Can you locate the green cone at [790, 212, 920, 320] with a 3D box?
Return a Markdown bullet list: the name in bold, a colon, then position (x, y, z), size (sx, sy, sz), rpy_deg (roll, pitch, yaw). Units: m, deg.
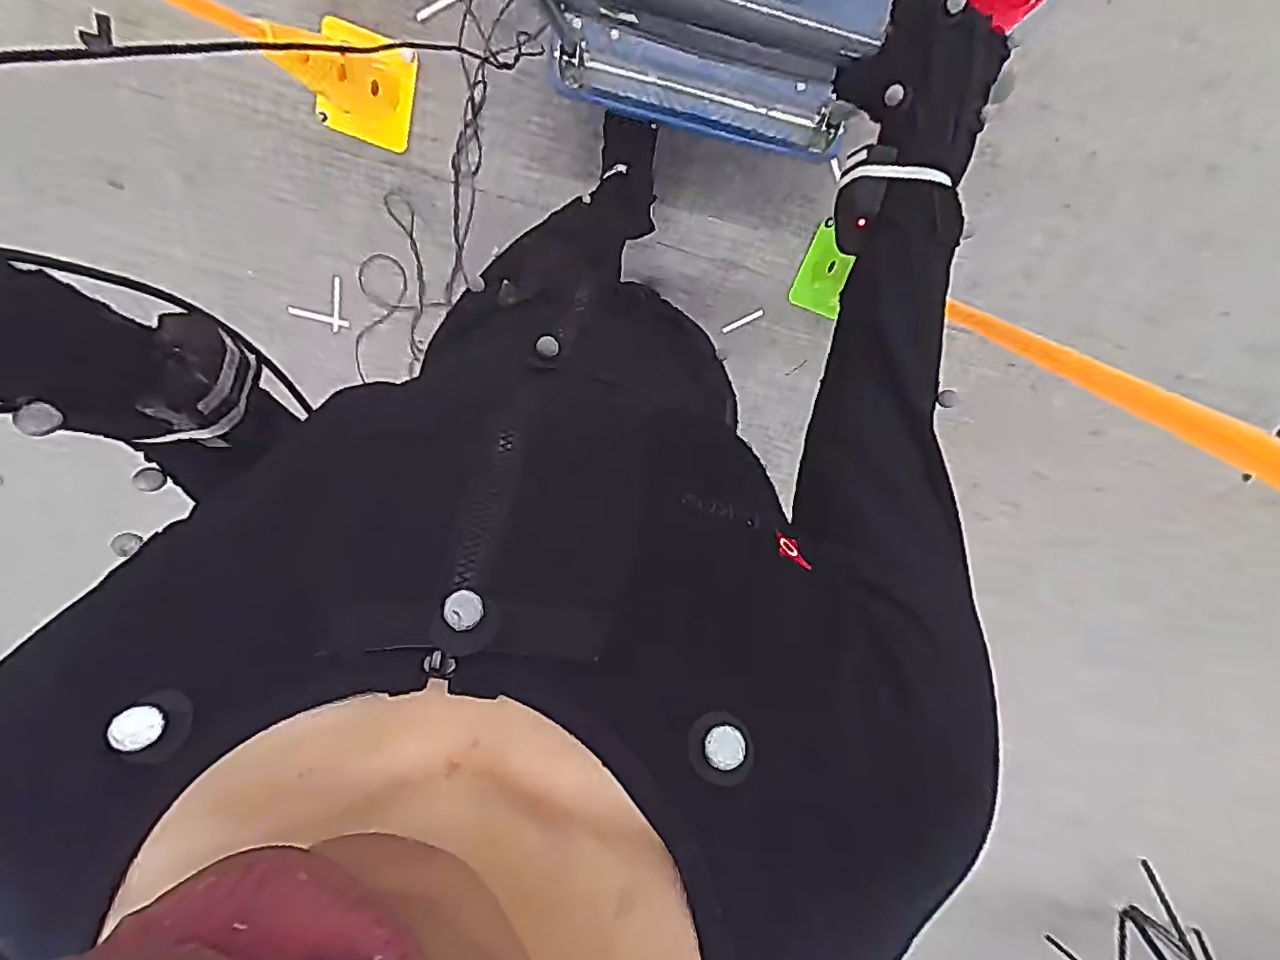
- **green cone**: position (0.478, -0.429, 1.128), size (0.202, 0.368, 0.200), rpy_deg (18, 114, -8)
